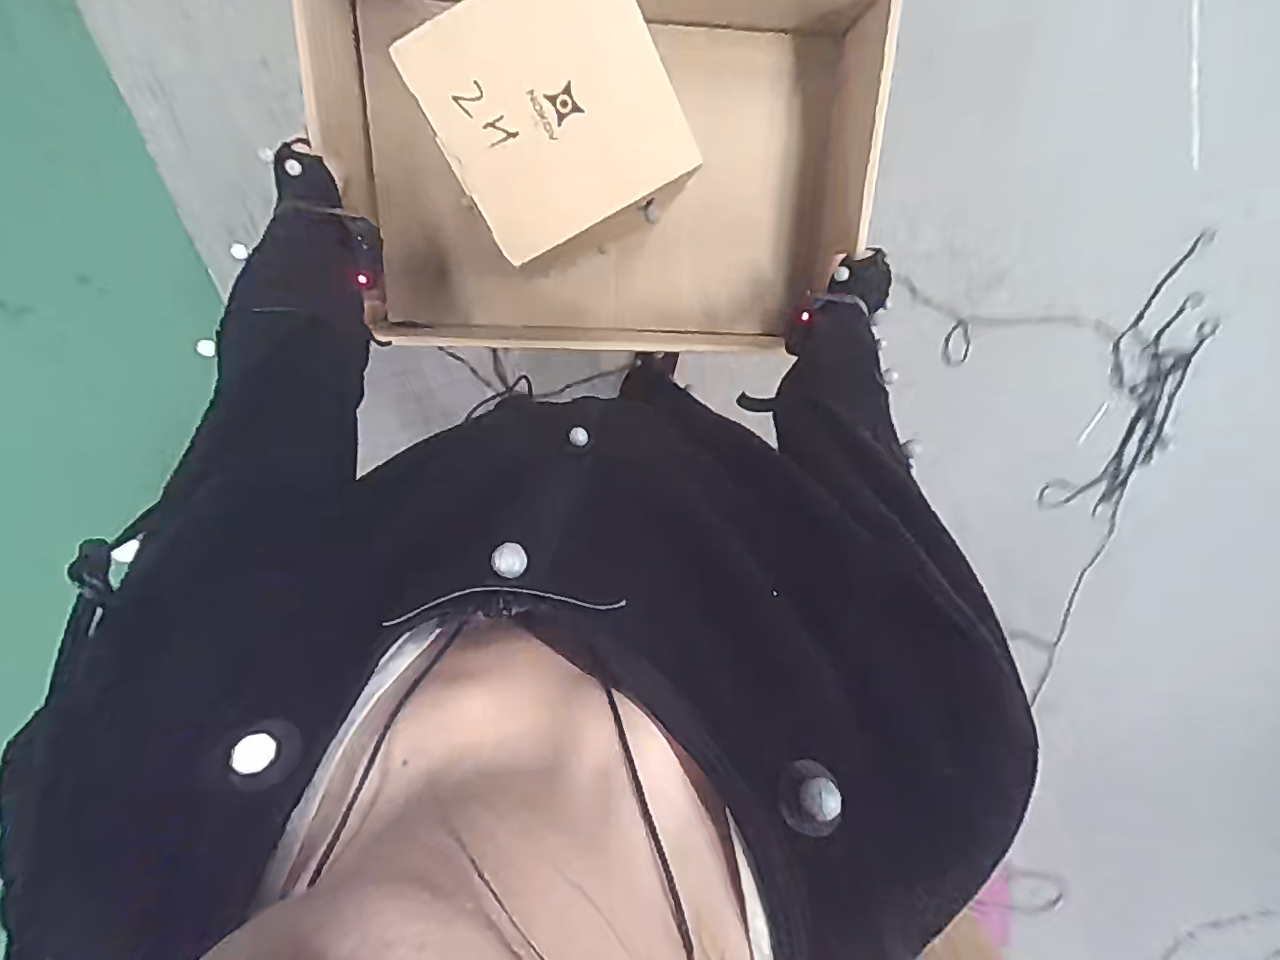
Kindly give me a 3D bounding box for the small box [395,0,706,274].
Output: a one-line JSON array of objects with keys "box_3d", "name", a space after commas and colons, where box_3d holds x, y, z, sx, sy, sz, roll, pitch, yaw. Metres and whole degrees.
[{"box_3d": [-0.070, -0.300, 0.470, 0.179, 0.176, 0.168, -28, 107, 1], "name": "small box"}]
